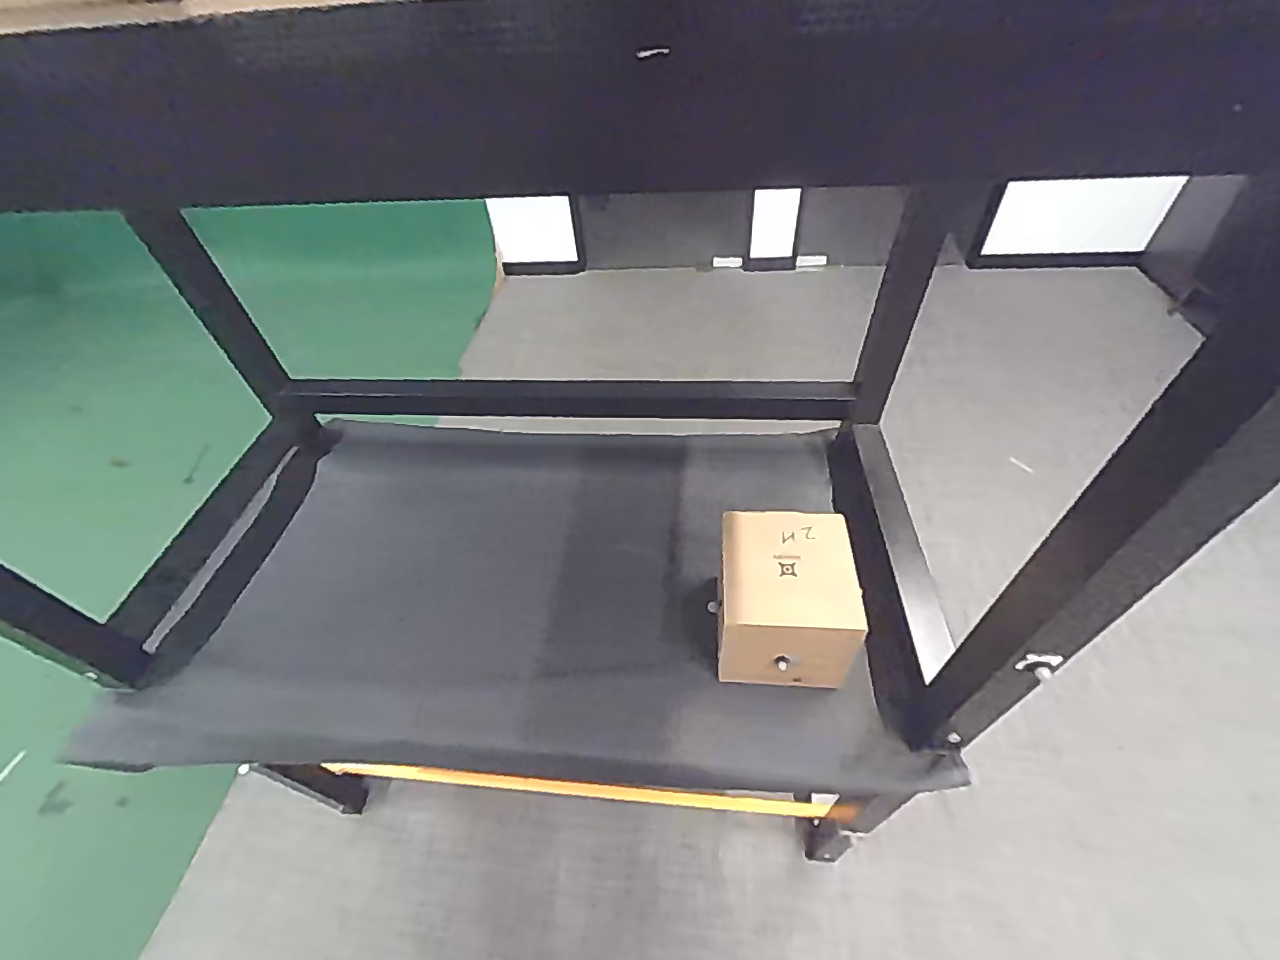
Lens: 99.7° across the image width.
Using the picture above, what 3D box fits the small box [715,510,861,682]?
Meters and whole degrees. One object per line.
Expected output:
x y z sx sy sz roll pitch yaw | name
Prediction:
0.192 0.163 0.748 0.168 0.176 0.179 2 47 6 | small box
